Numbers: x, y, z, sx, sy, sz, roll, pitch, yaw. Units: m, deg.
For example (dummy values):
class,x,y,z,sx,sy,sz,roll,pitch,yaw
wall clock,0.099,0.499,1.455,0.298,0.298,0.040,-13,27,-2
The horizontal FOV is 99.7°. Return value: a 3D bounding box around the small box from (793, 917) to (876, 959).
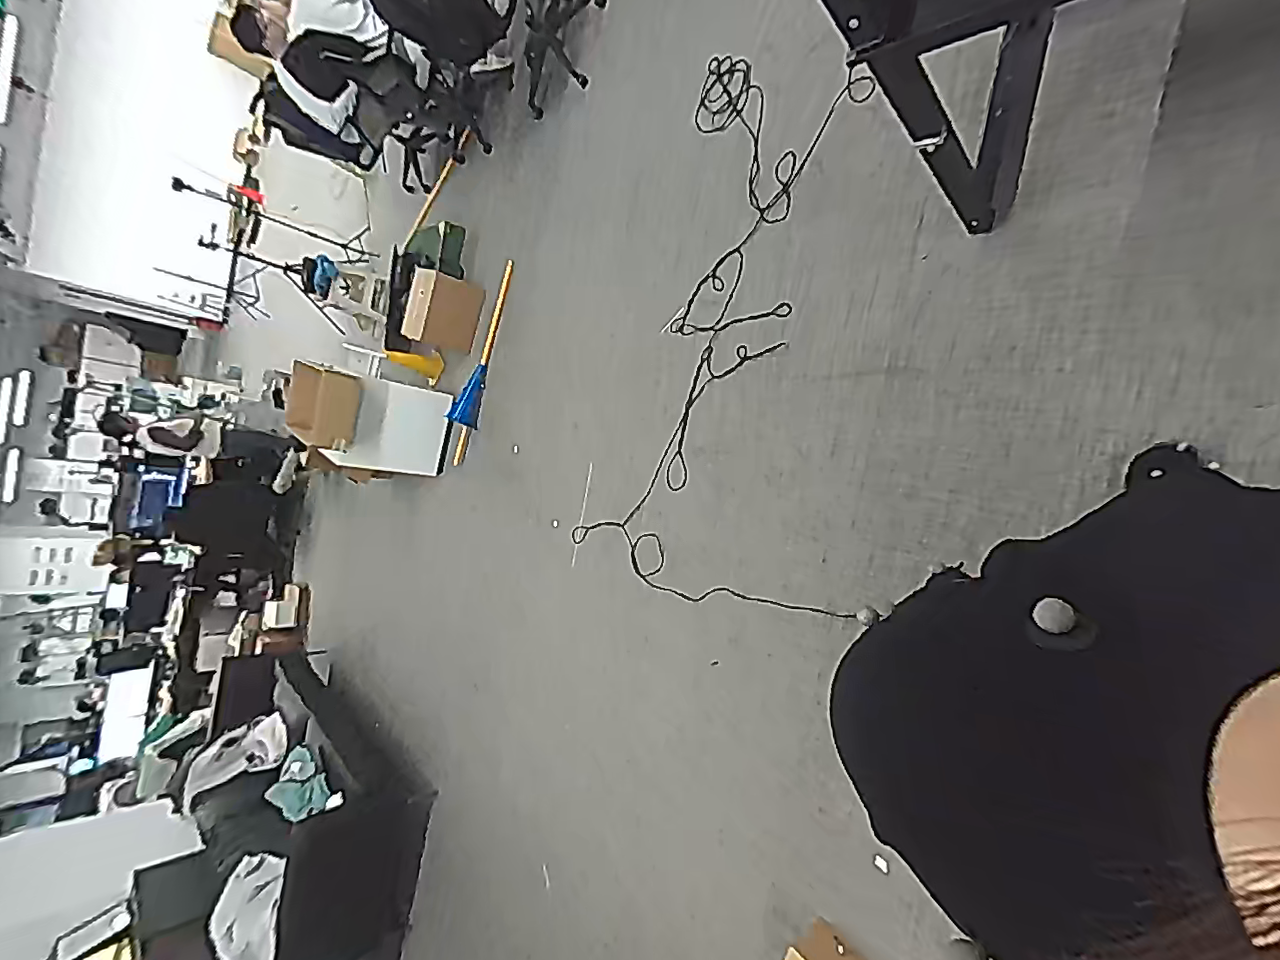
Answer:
class,x,y,z,sx,sy,sz,roll,pitch,yaw
small box,0.500,1.313,1.411,0.168,0.176,0.179,23,100,43
